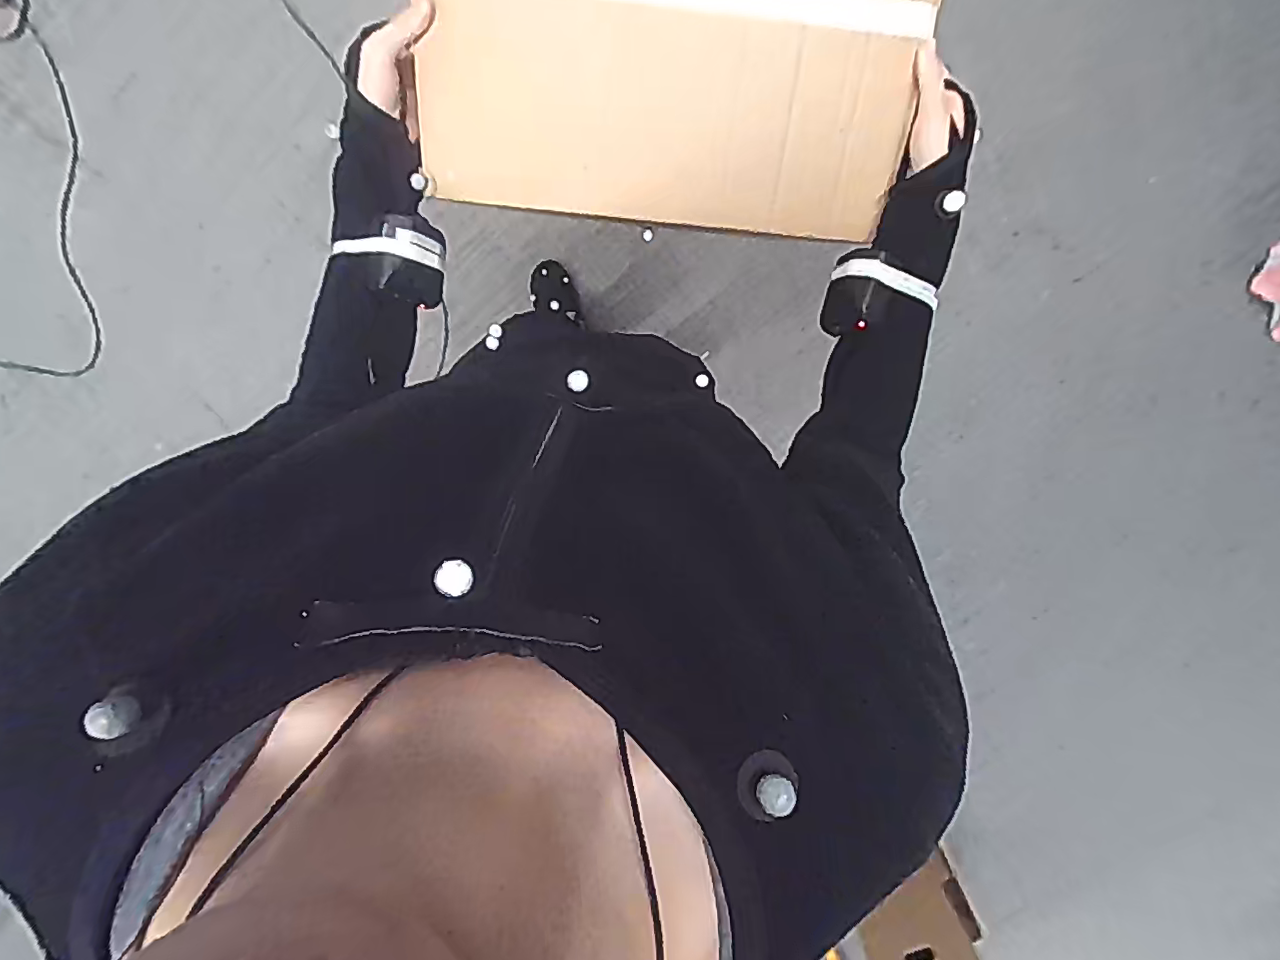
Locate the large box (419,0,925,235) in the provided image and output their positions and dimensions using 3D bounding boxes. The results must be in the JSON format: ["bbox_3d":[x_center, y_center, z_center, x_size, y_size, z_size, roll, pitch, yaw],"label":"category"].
[{"bbox_3d":[0.025,-0.435,0.559,0.408,0.320,0.320,3,113,-2],"label":"large box"}]
